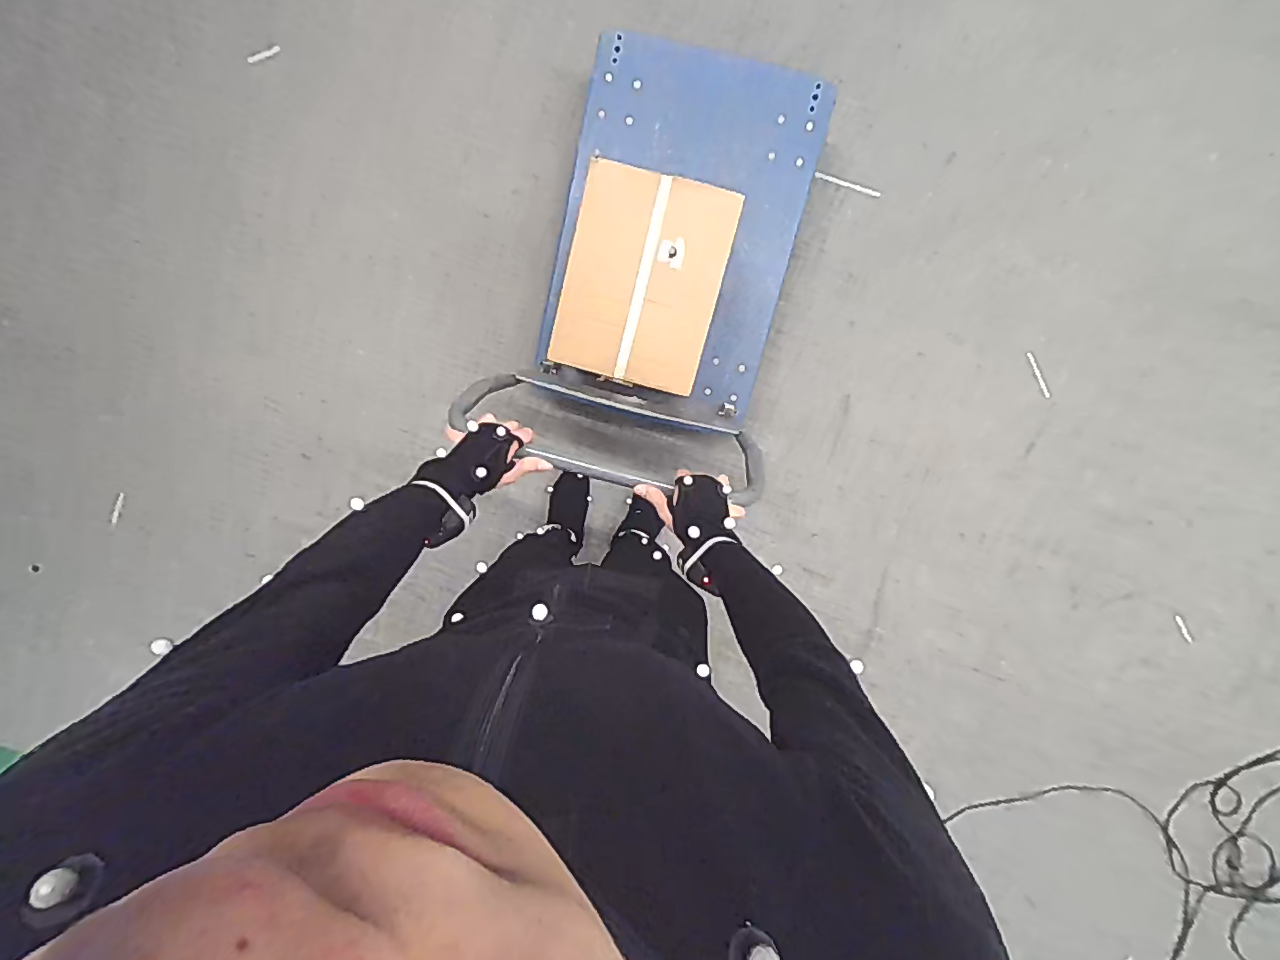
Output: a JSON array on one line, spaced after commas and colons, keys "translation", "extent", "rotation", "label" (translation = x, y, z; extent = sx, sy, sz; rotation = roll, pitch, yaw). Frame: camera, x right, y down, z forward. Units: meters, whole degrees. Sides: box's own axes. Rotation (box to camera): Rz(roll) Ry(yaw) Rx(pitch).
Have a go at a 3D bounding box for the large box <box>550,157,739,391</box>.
[{"translation": [0.013, -0.435, 1.236], "extent": [0.320, 0.320, 0.408], "rotation": [15, 102, 0], "label": "large box"}]
